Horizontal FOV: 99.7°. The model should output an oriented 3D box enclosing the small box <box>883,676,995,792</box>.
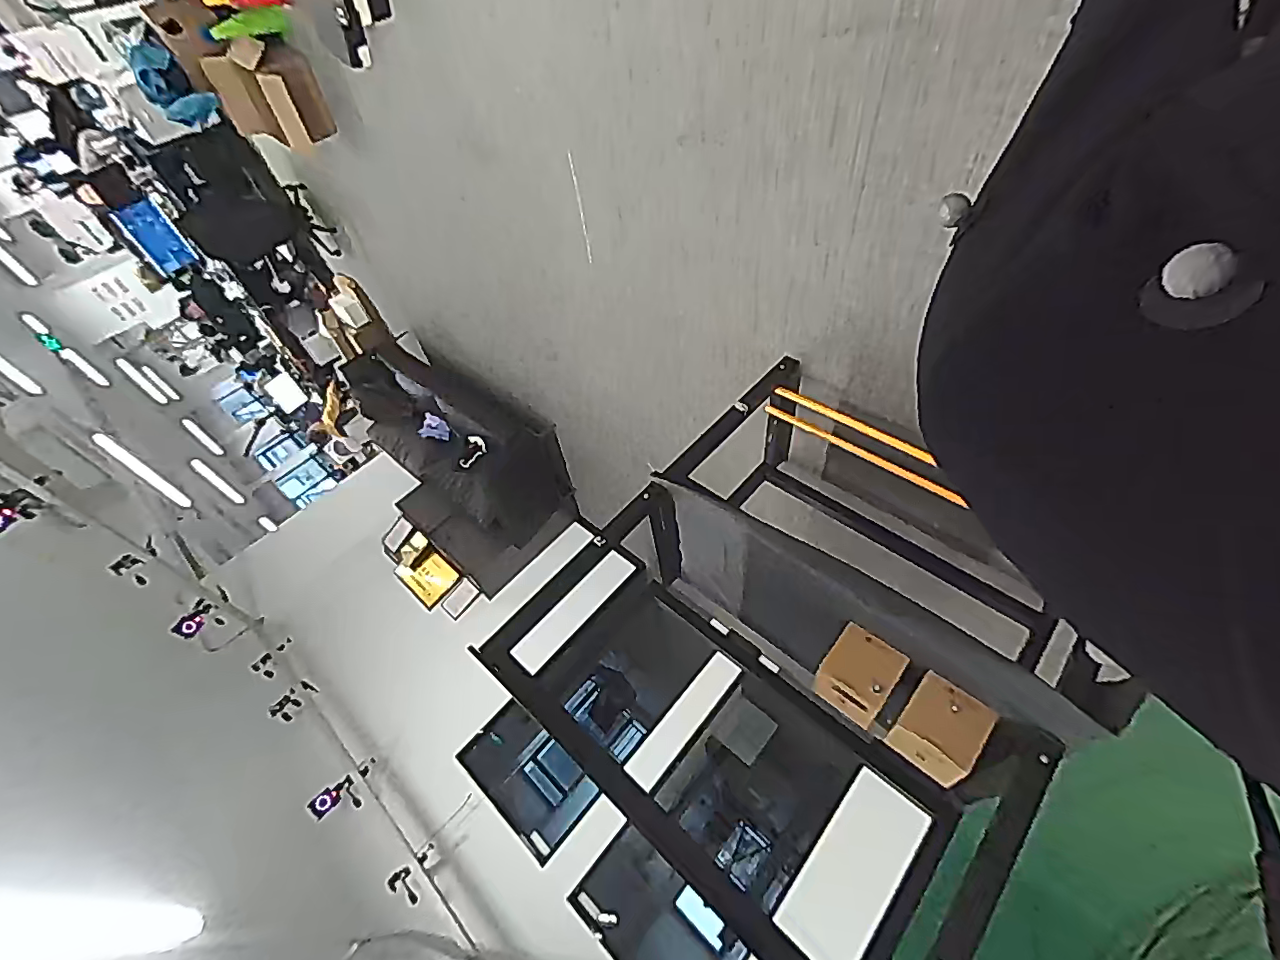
[{"bbox_3d":[0.728,0.618,1.321,0.168,0.176,0.179,32,152,30],"label":"small box"}]
